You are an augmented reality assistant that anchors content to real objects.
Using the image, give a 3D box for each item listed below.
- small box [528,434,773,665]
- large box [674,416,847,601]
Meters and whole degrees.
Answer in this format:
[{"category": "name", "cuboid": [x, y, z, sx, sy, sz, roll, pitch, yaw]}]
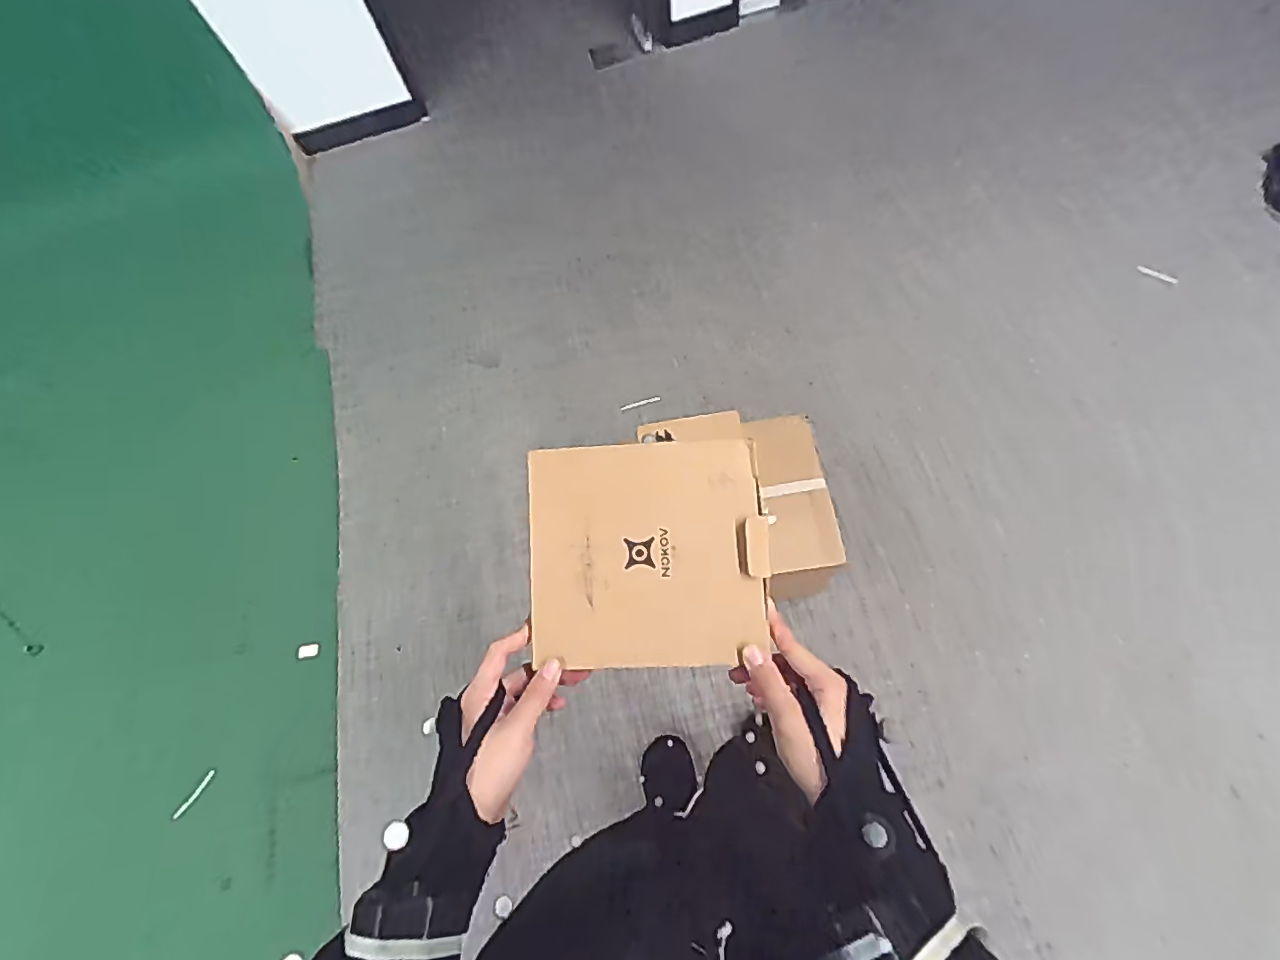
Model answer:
[{"category": "small box", "cuboid": [0.011, 0.062, 0.479, 0.179, 0.176, 0.168, -5, 80, 5]}, {"category": "large box", "cuboid": [0.171, 0.101, 1.171, 0.408, 0.320, 0.320, -10, 68, 2]}]
